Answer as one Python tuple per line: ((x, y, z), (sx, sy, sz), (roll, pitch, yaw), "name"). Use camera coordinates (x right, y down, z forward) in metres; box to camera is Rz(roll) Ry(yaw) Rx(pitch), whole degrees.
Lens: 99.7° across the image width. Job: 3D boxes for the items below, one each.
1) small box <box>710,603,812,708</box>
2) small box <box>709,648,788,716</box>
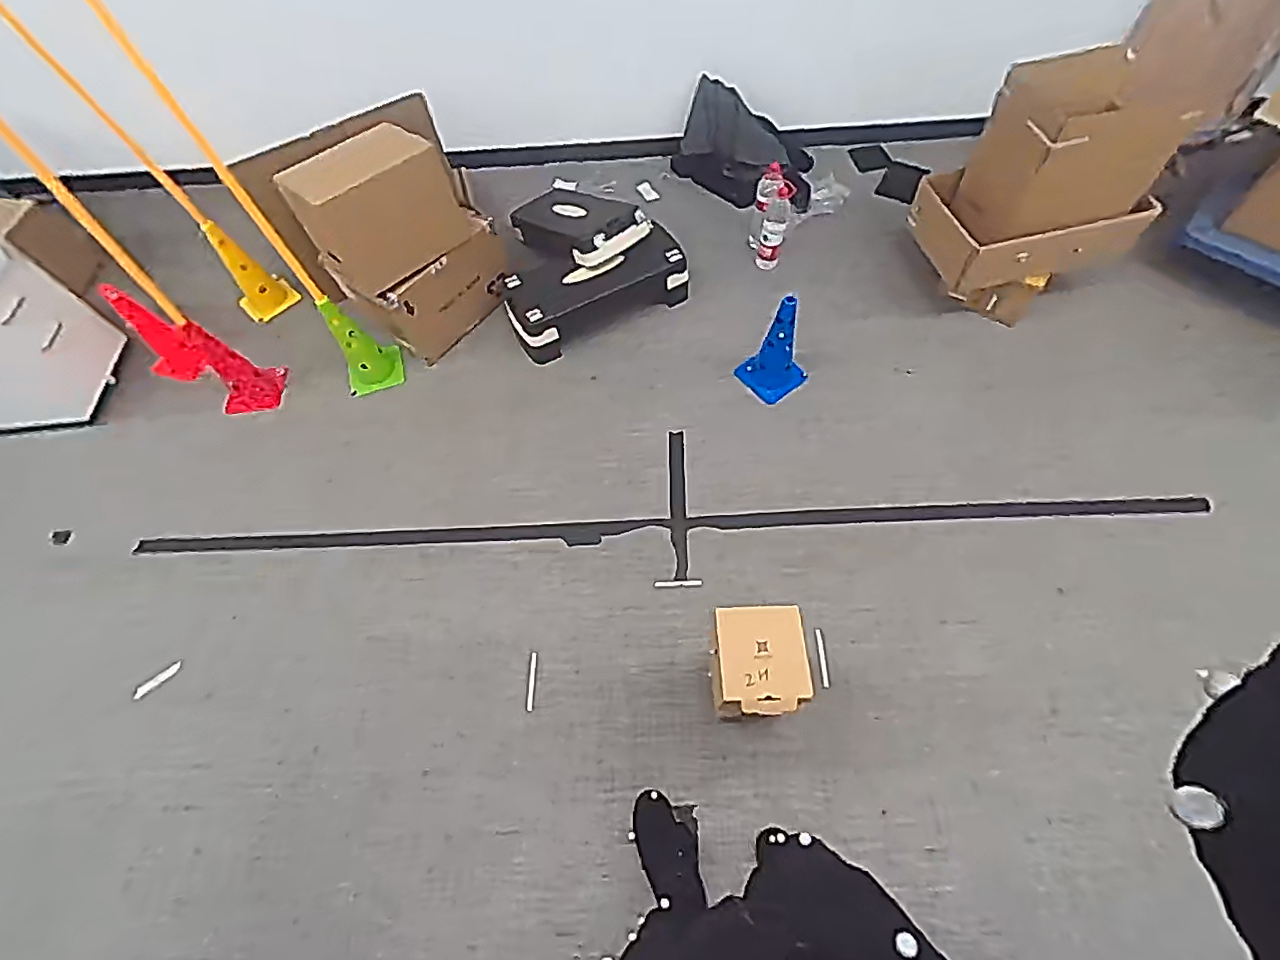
((0.233, 0.358, 1.093), (0.168, 0.176, 0.179), (-2, 62, 2), "small box")
((0.272, 0.505, 1.389), (0.168, 0.176, 0.179), (-5, 62, 1), "small box")
